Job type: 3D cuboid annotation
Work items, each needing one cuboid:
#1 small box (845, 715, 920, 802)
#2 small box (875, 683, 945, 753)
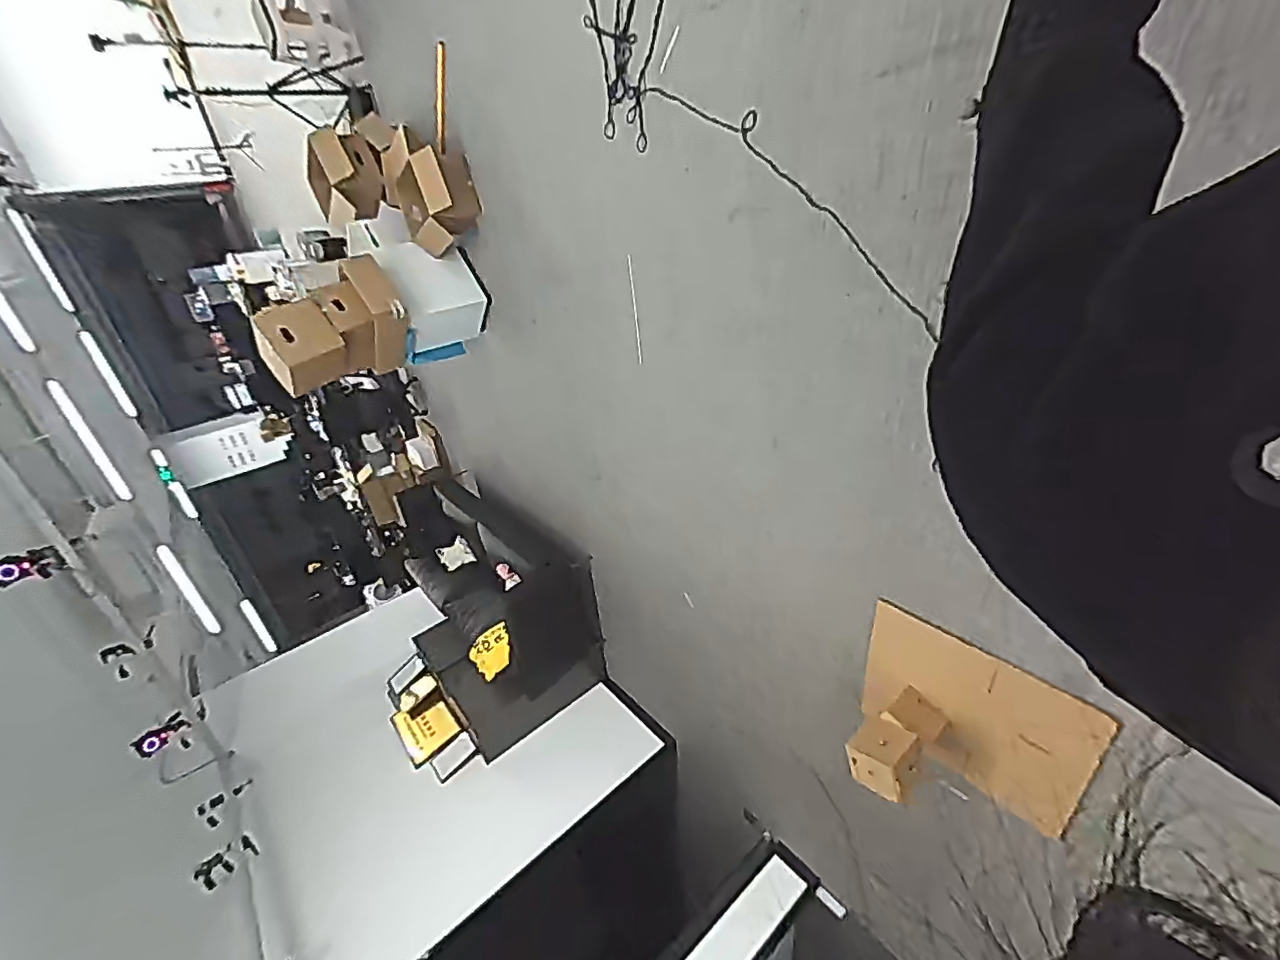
[{"bbox_3d":[0.842,0.948,1.861,0.179,0.176,0.168,4,117,54],"label":"small box"},{"bbox_3d":[0.959,0.875,1.949,0.168,0.176,0.179,42,143,30],"label":"small box"}]
